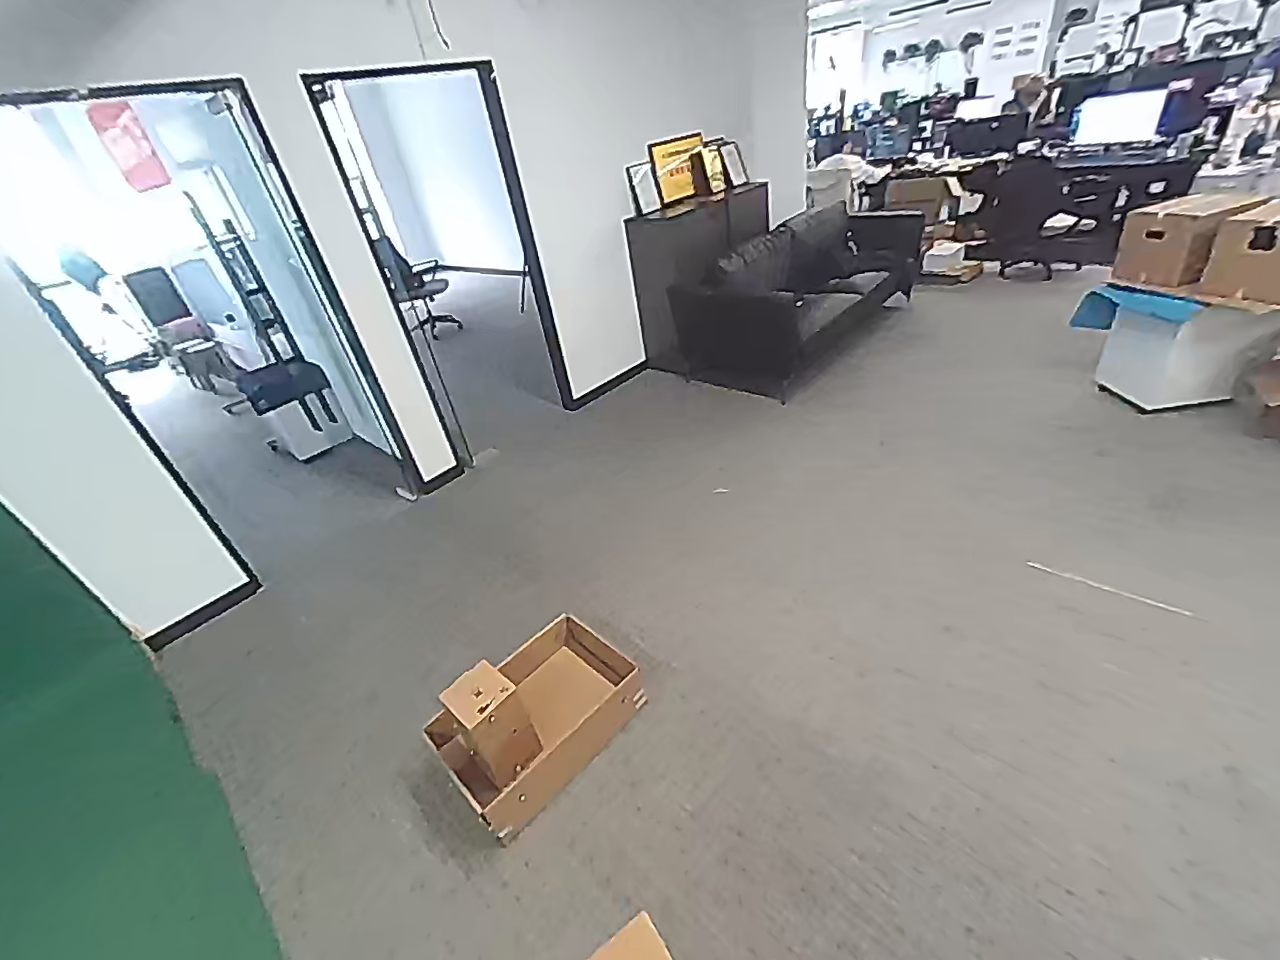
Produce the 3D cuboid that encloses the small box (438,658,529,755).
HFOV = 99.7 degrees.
[{"bbox_3d":[-0.460,0.672,1.601,0.179,0.176,0.168,21,45,38],"label":"small box"}]
